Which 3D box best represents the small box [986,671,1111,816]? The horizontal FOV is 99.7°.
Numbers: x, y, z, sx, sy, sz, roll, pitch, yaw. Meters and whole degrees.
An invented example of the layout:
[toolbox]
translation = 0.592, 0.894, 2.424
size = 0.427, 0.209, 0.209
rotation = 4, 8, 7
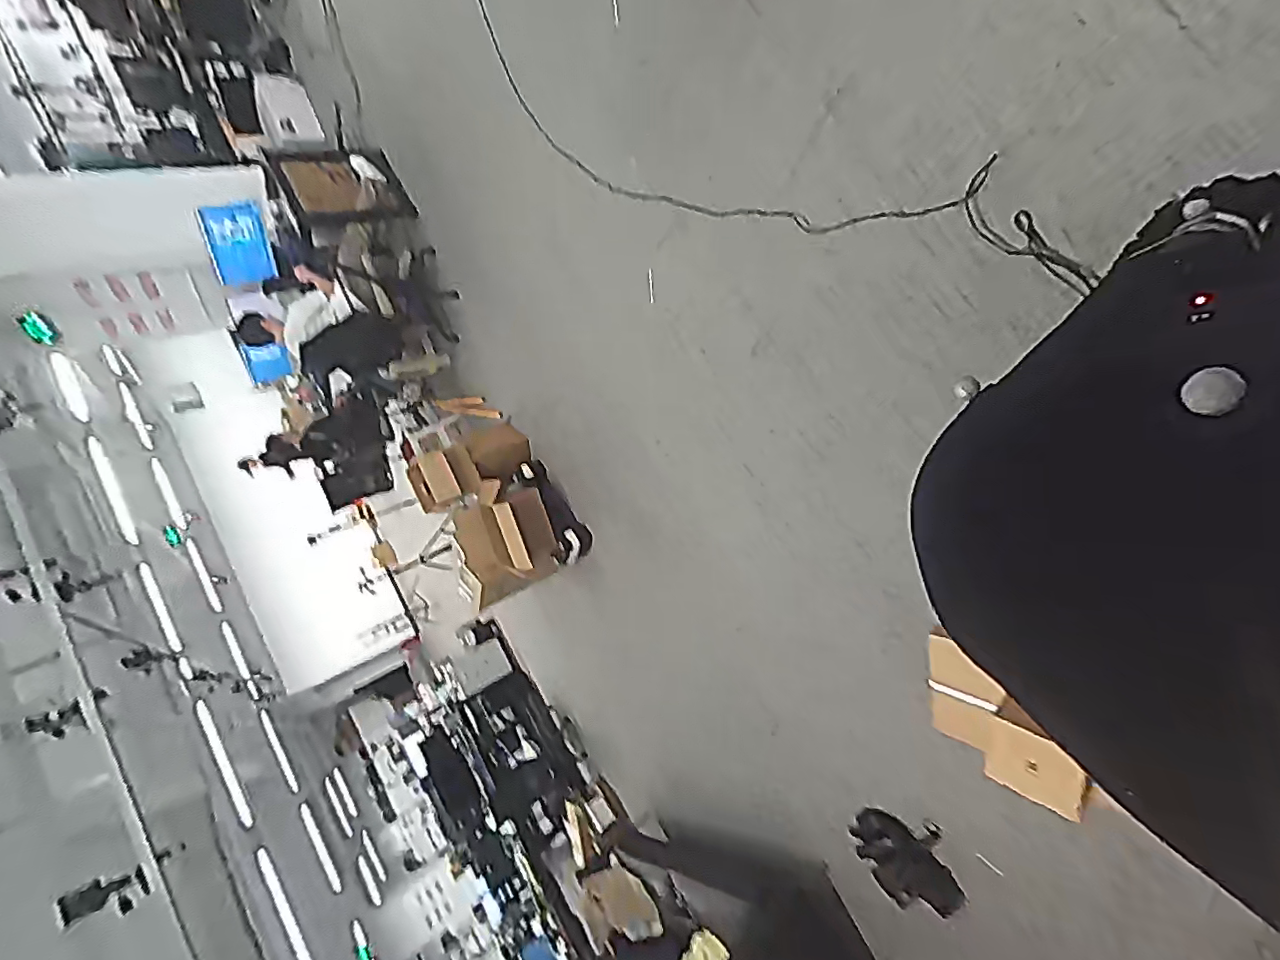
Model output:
[small box]
translation = 0.856, 0.541, 1.134
size = 0.168, 0.176, 0.179
rotation = 15, 120, 50
